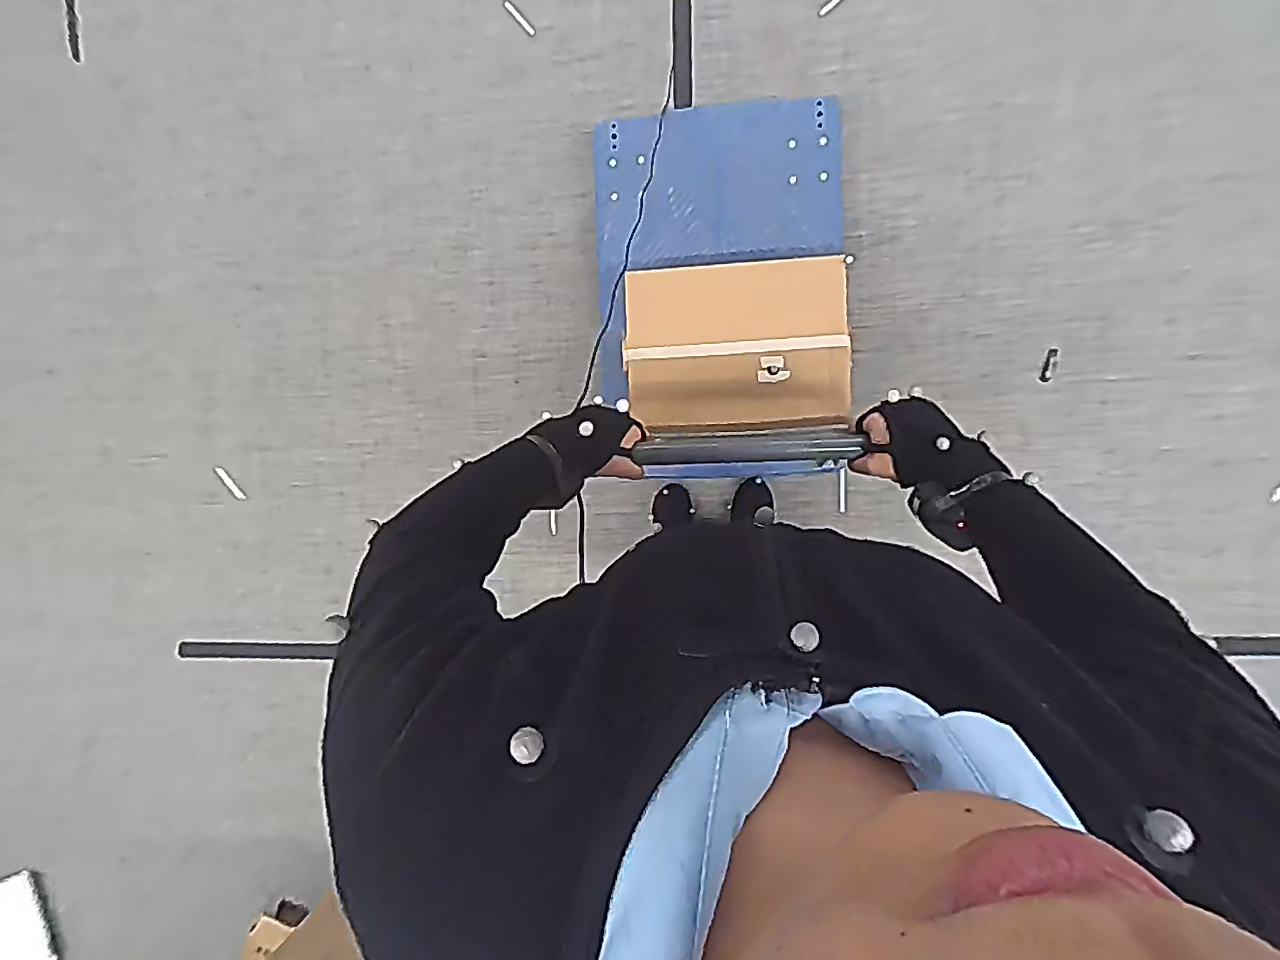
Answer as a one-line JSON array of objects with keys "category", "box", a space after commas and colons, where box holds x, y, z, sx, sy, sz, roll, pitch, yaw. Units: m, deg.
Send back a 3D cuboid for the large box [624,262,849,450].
[{"category": "large box", "box": [0.189, -0.233, 1.144, 0.408, 0.320, 0.320, -2, 92, 6]}]
